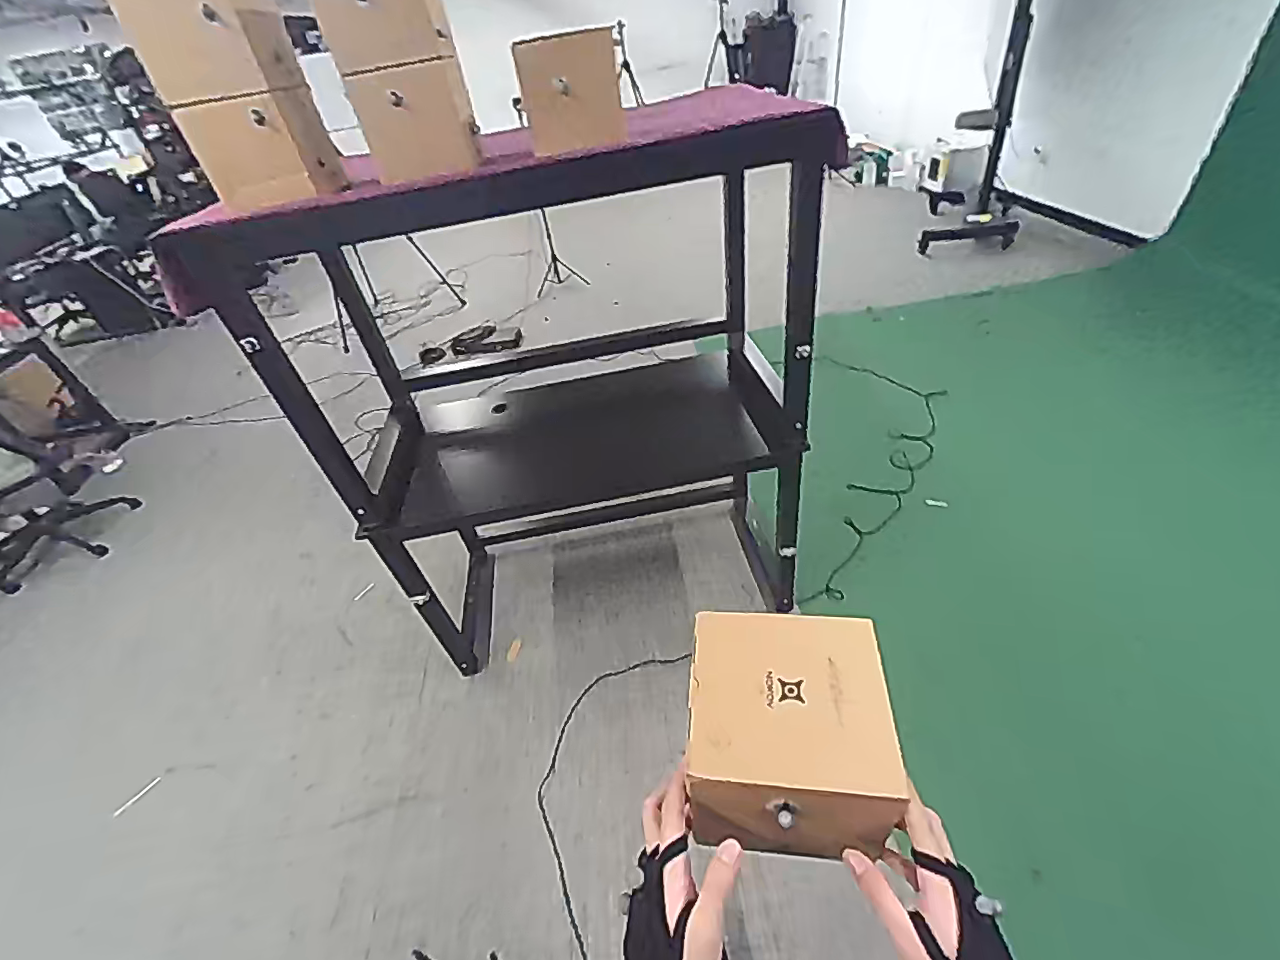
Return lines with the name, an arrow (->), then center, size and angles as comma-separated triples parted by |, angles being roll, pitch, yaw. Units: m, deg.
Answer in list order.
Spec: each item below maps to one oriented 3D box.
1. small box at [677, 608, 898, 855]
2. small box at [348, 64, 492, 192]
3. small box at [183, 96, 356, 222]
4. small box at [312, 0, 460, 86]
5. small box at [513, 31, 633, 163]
small box -> 0.139, 0.249, 0.542 | 0.179, 0.176, 0.168 | 0, 41, 11
small box -> -0.397, -0.656, 1.011 | 0.179, 0.176, 0.168 | -10, 40, 2
small box -> -0.672, -0.595, 1.008 | 0.179, 0.176, 0.168 | -10, 39, 1
small box -> -0.422, -0.780, 0.906 | 0.179, 0.176, 0.168 | -11, 39, 2
small box -> -0.118, -0.711, 1.008 | 0.179, 0.176, 0.168 | -10, 40, 3
